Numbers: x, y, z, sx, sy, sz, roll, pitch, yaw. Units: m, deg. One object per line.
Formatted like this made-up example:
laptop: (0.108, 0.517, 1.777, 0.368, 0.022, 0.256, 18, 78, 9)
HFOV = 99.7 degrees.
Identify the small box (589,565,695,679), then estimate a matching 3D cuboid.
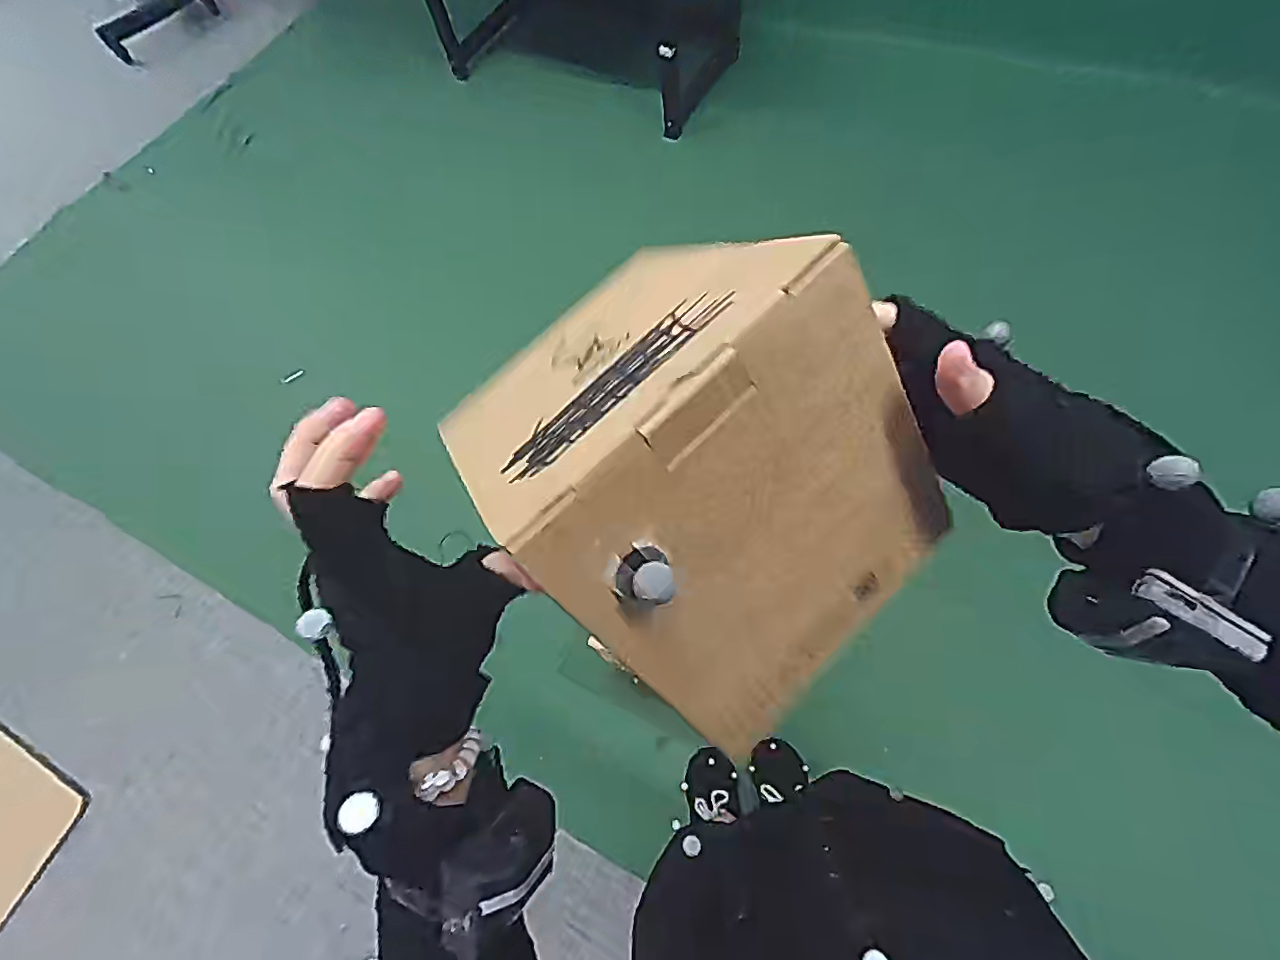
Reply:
small box: (0.011, 0.311, 1.170, 0.168, 0.176, 0.179, 20, 71, 15)
